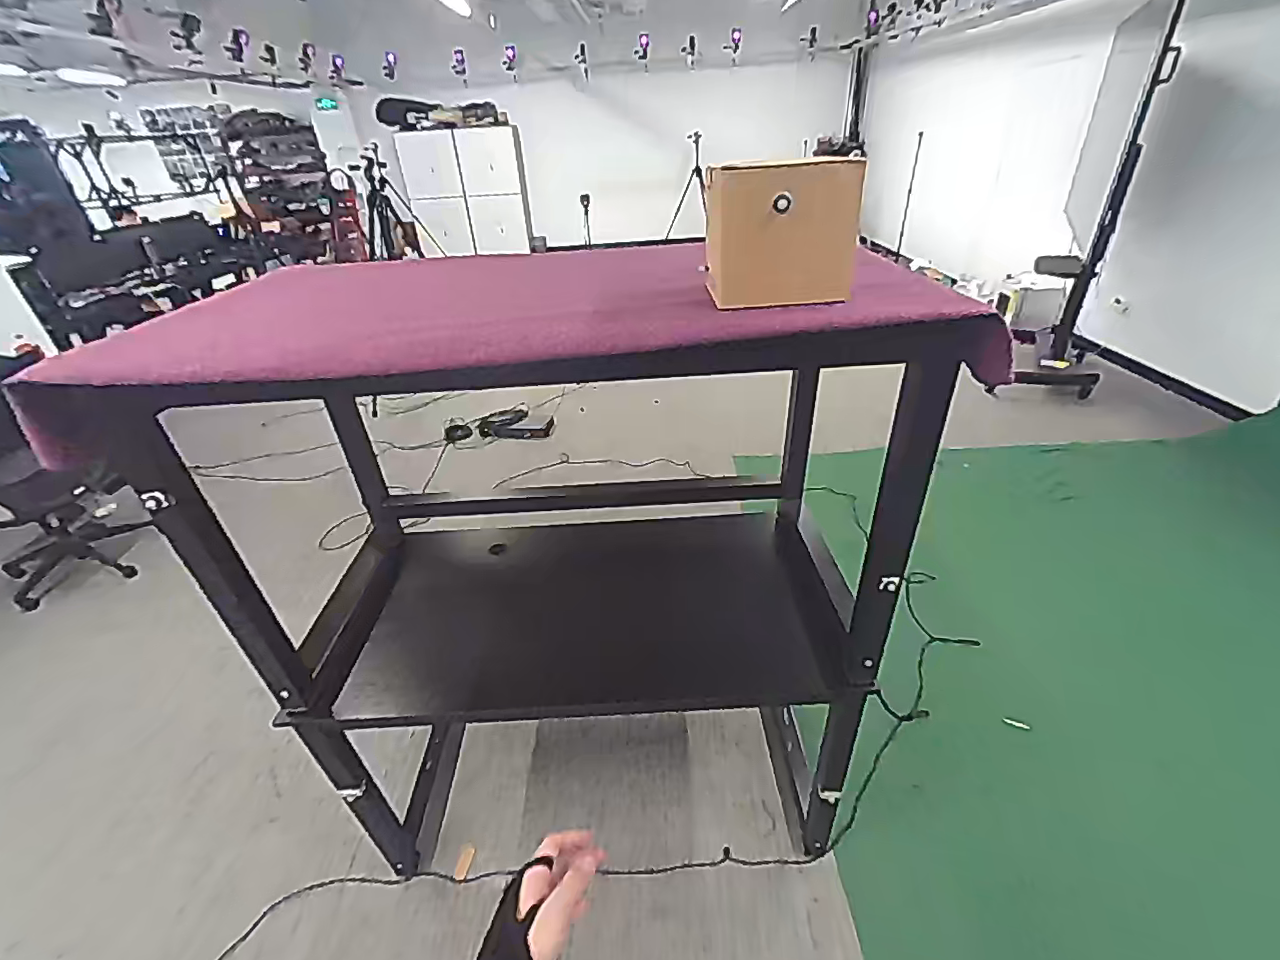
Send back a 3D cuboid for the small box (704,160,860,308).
[{"bbox_3d":[0.186,-0.346,0.760,0.179,0.176,0.168,-3,32,1],"label":"small box"}]
